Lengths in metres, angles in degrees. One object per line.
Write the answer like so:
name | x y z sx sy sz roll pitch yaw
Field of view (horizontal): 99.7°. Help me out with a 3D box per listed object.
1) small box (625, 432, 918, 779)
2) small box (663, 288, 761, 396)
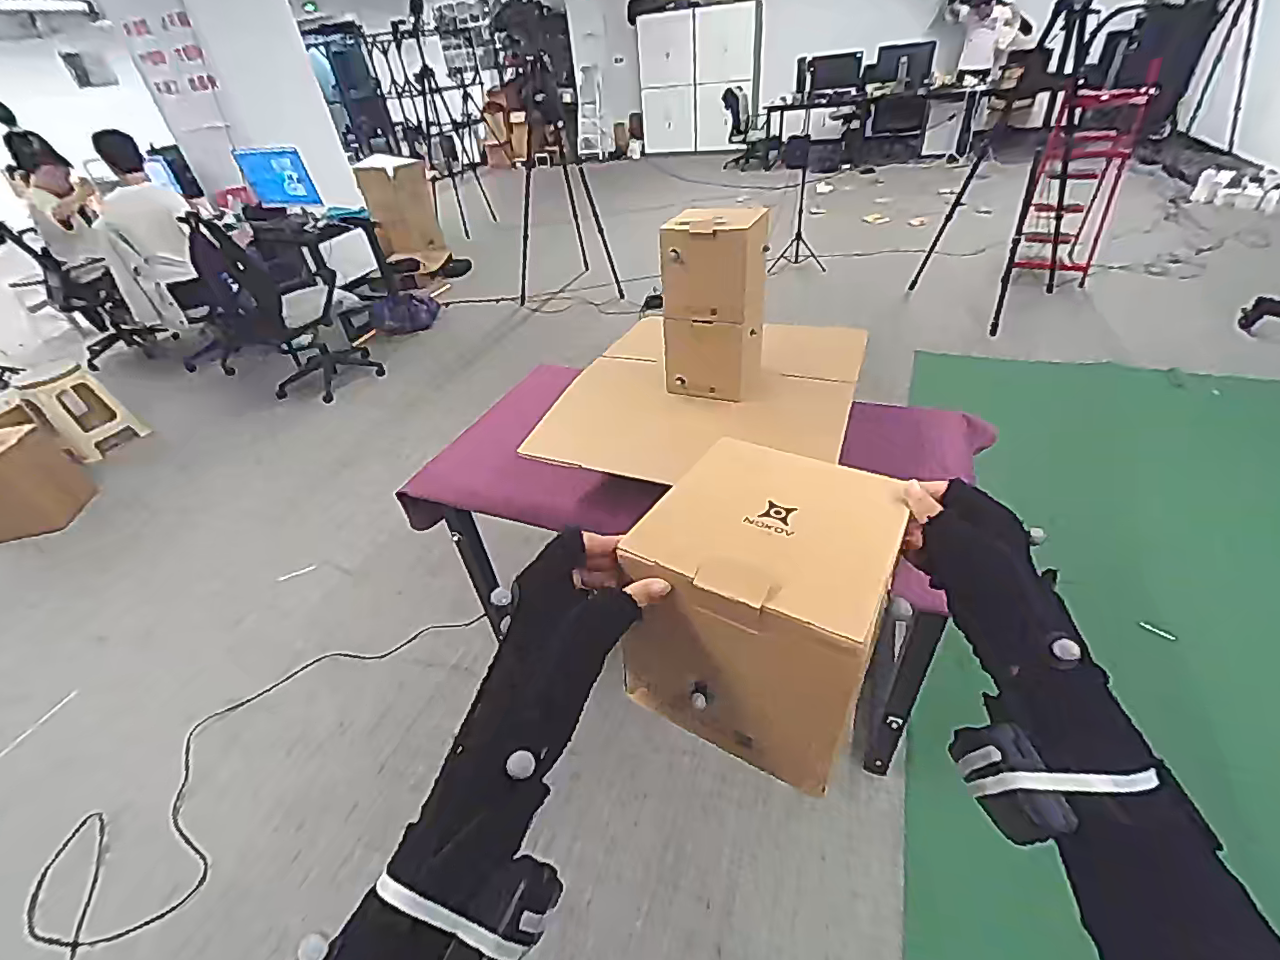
small box | 0.101 0.089 0.434 0.168 0.176 0.179 18 39 26
small box | 0.159 -0.295 1.154 0.168 0.176 0.179 10 41 19
